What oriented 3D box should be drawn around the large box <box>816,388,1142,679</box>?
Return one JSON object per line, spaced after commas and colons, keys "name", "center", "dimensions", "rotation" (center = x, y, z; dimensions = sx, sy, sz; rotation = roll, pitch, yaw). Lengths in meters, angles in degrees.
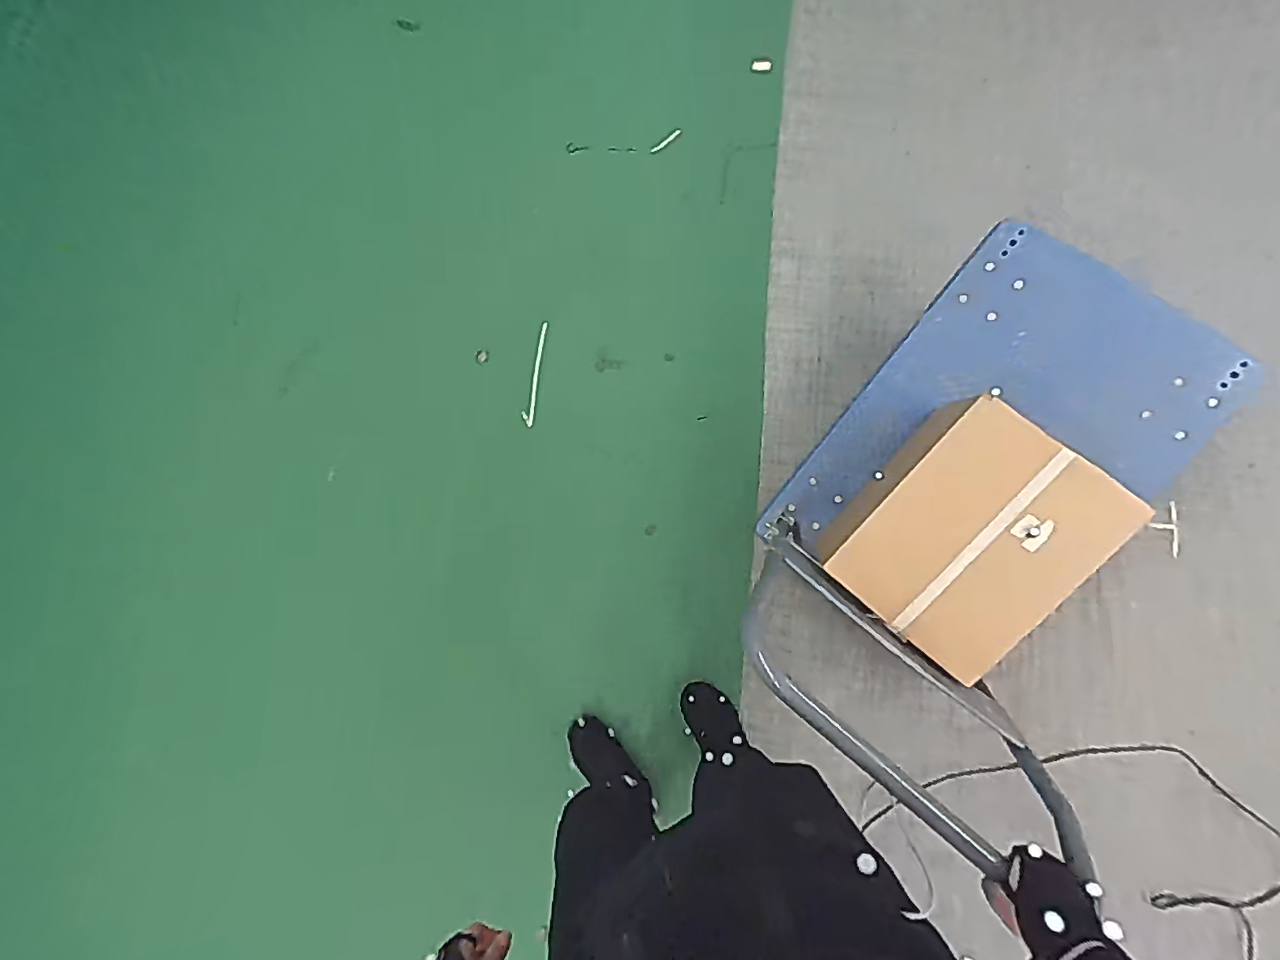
{"name": "large box", "center": [0.598, 0.091, 1.055], "dimensions": [0.320, 0.320, 0.408], "rotation": [40, 101, 10]}
